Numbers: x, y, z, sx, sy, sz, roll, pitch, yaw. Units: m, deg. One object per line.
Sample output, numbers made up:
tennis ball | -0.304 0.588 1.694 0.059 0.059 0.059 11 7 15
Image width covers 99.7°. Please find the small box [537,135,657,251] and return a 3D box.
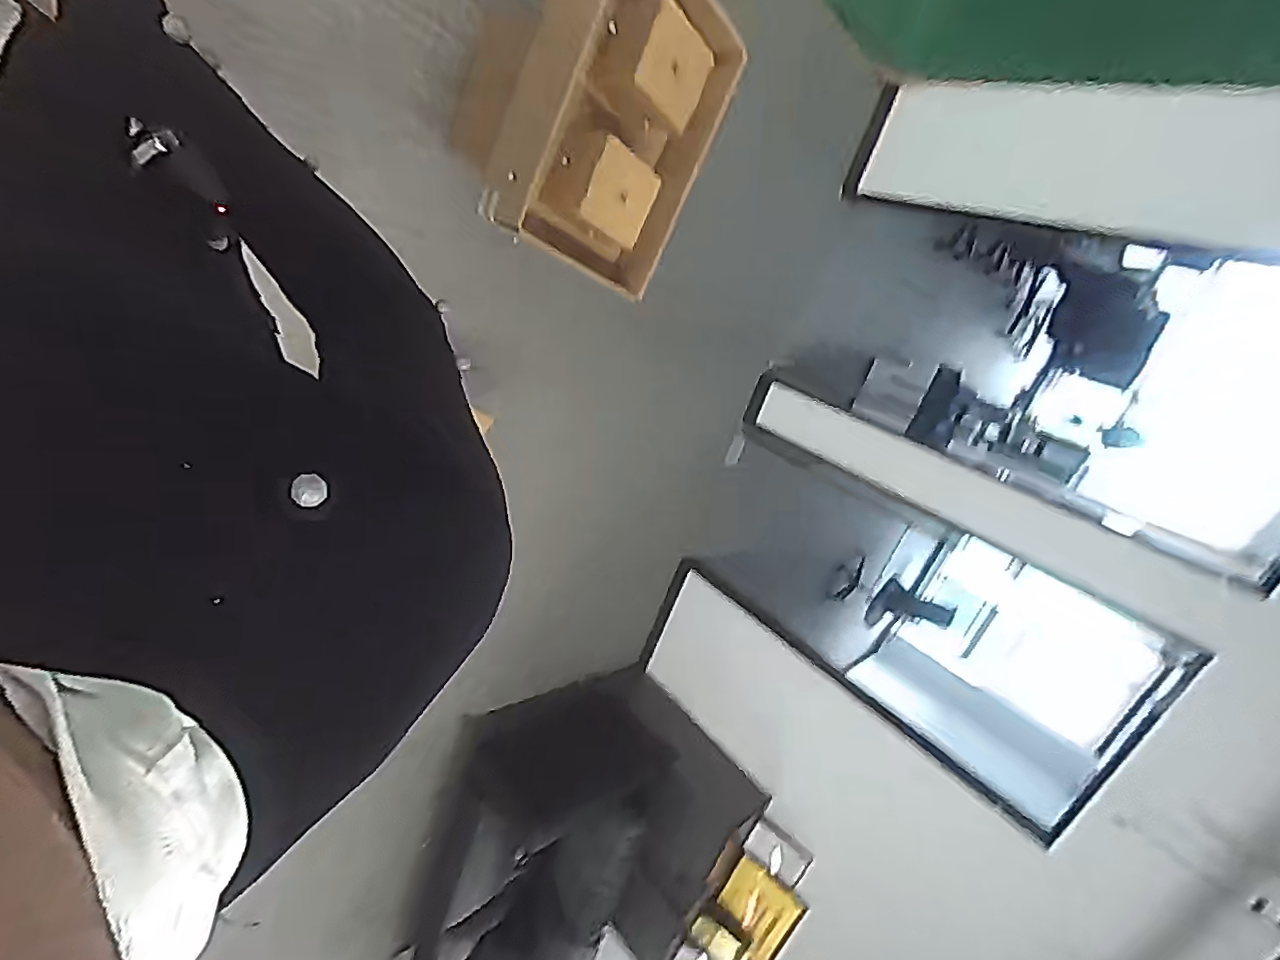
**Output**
small box | -0.099 -0.655 1.230 0.179 0.176 0.168 12 109 -50
